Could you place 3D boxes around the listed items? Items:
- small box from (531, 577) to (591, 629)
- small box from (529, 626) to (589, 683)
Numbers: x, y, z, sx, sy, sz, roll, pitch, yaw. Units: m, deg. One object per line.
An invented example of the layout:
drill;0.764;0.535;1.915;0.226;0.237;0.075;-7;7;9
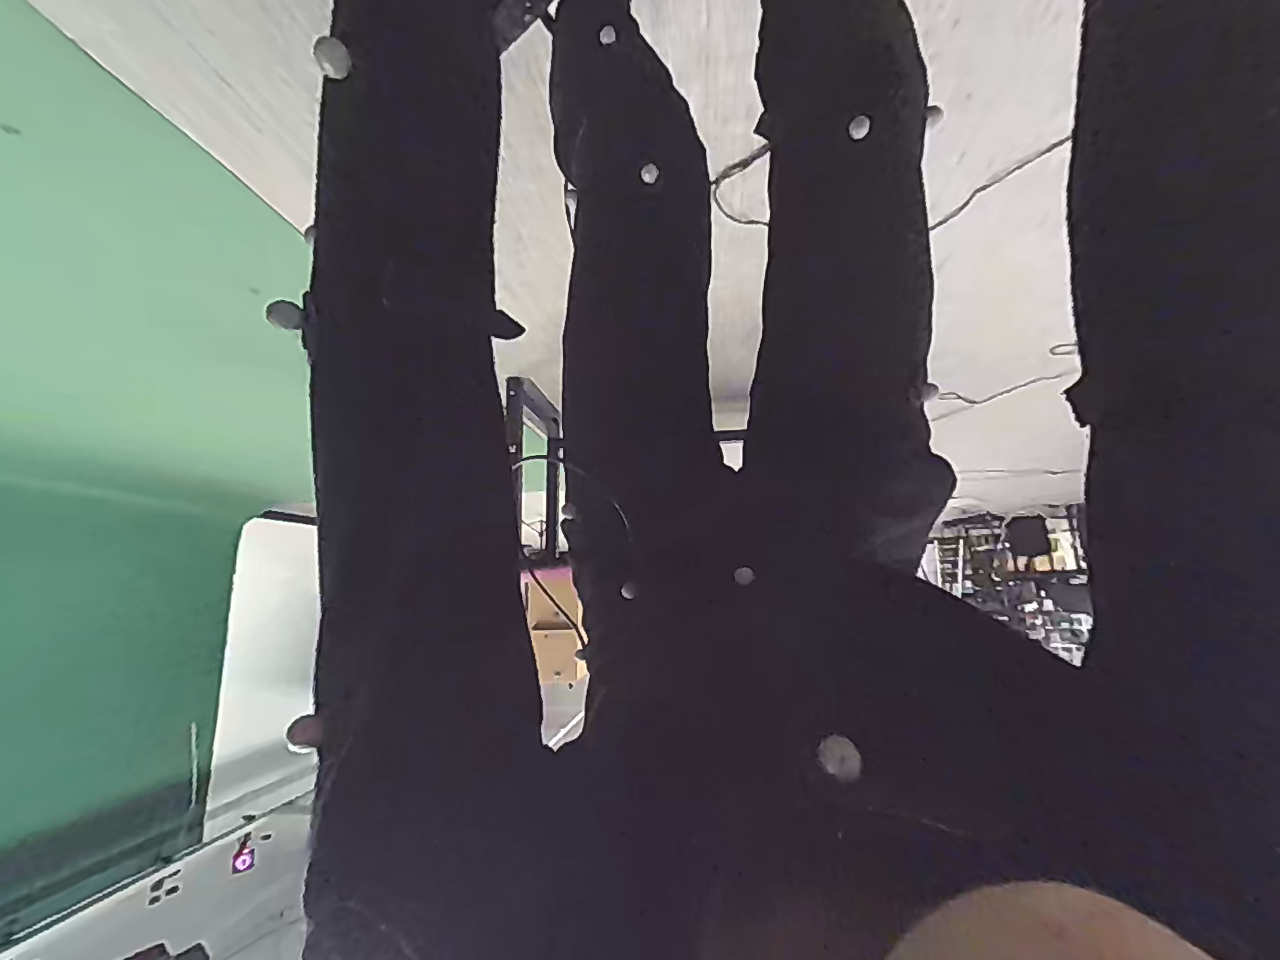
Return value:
small box;-0.272;0.422;1.870;0.179;0.176;0.168;-3;168;8
small box;-0.268;0.580;1.820;0.168;0.176;0.179;-4;169;6
